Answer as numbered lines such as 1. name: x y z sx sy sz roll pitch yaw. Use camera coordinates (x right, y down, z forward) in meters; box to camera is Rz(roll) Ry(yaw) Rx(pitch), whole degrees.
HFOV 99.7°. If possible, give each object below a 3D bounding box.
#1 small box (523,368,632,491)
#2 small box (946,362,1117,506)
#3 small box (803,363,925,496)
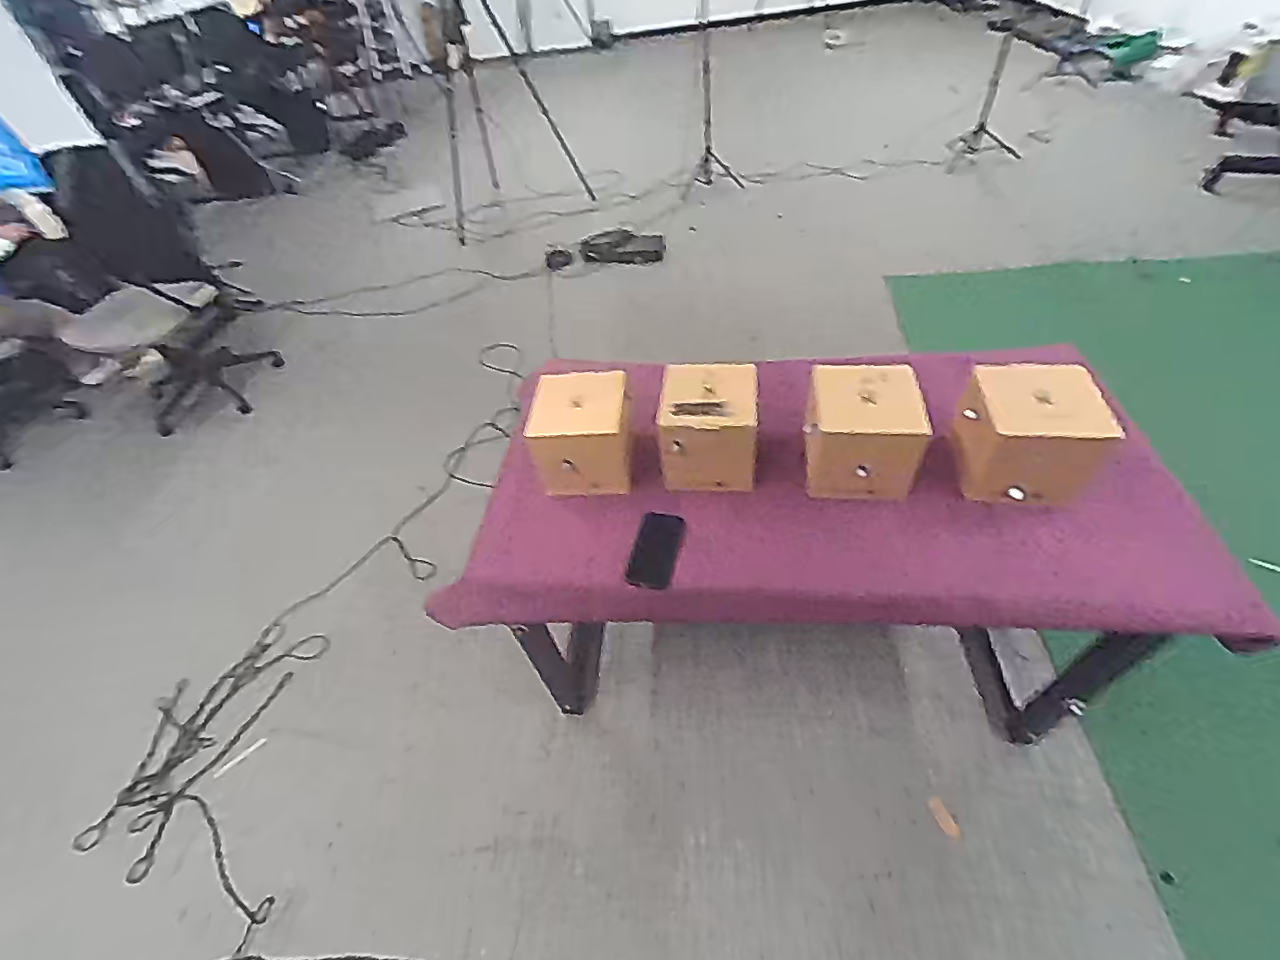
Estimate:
1. small box: -0.109 -0.091 1.041 0.168 0.176 0.179 -3 47 7
2. small box: 0.641 -0.080 0.916 0.168 0.176 0.179 3 49 13
3. small box: 0.385 -0.088 0.962 0.168 0.176 0.179 3 49 10
